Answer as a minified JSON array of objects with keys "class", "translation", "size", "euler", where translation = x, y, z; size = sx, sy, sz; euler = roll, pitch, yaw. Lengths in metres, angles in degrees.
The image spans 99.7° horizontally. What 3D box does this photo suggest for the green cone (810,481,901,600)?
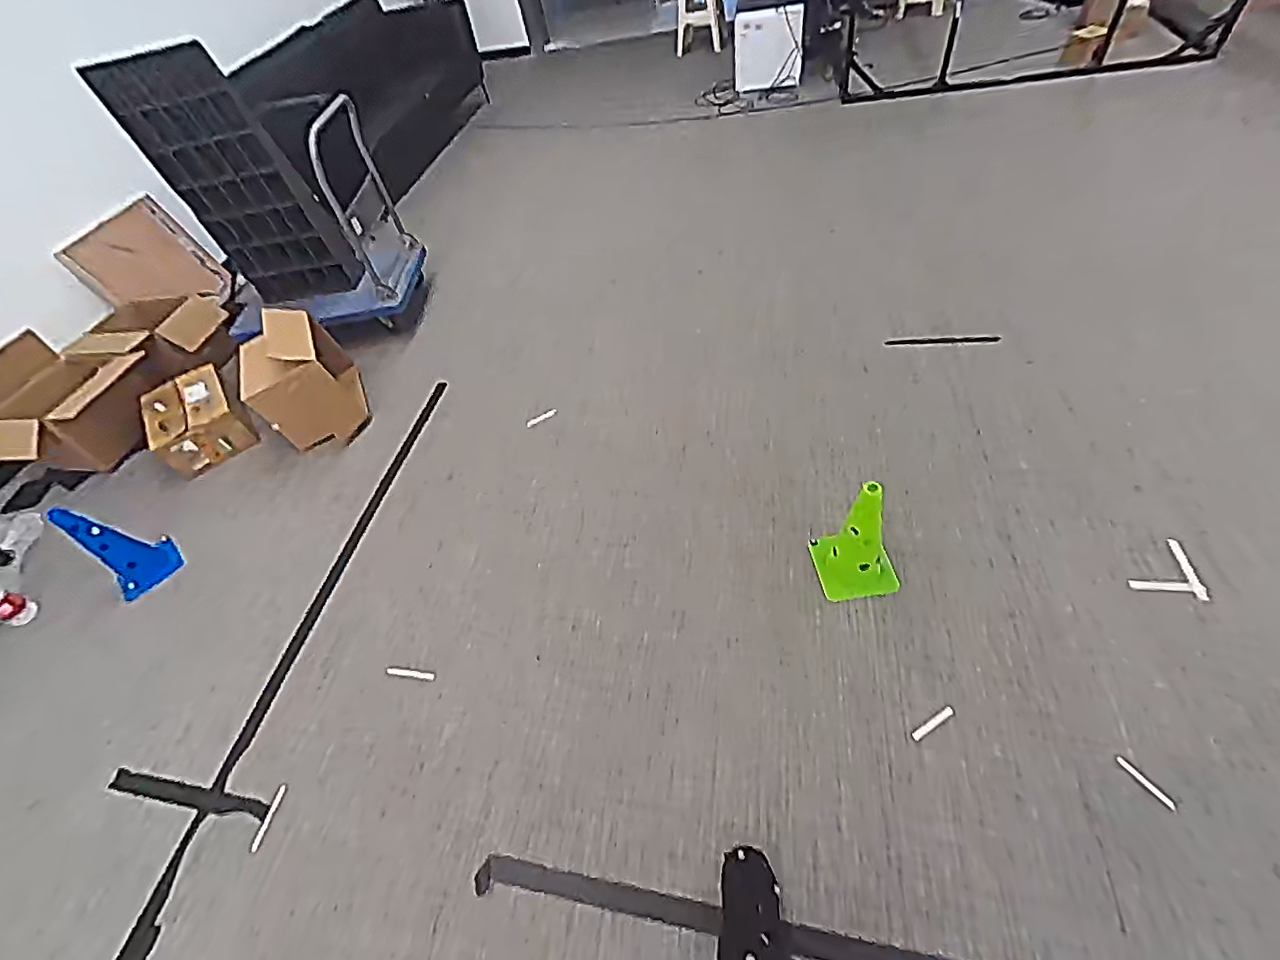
[{"class":"green cone","translation":[0.573,0.131,1.378],"size":[0.202,0.368,0.200],"euler":[-10,51,3]}]
